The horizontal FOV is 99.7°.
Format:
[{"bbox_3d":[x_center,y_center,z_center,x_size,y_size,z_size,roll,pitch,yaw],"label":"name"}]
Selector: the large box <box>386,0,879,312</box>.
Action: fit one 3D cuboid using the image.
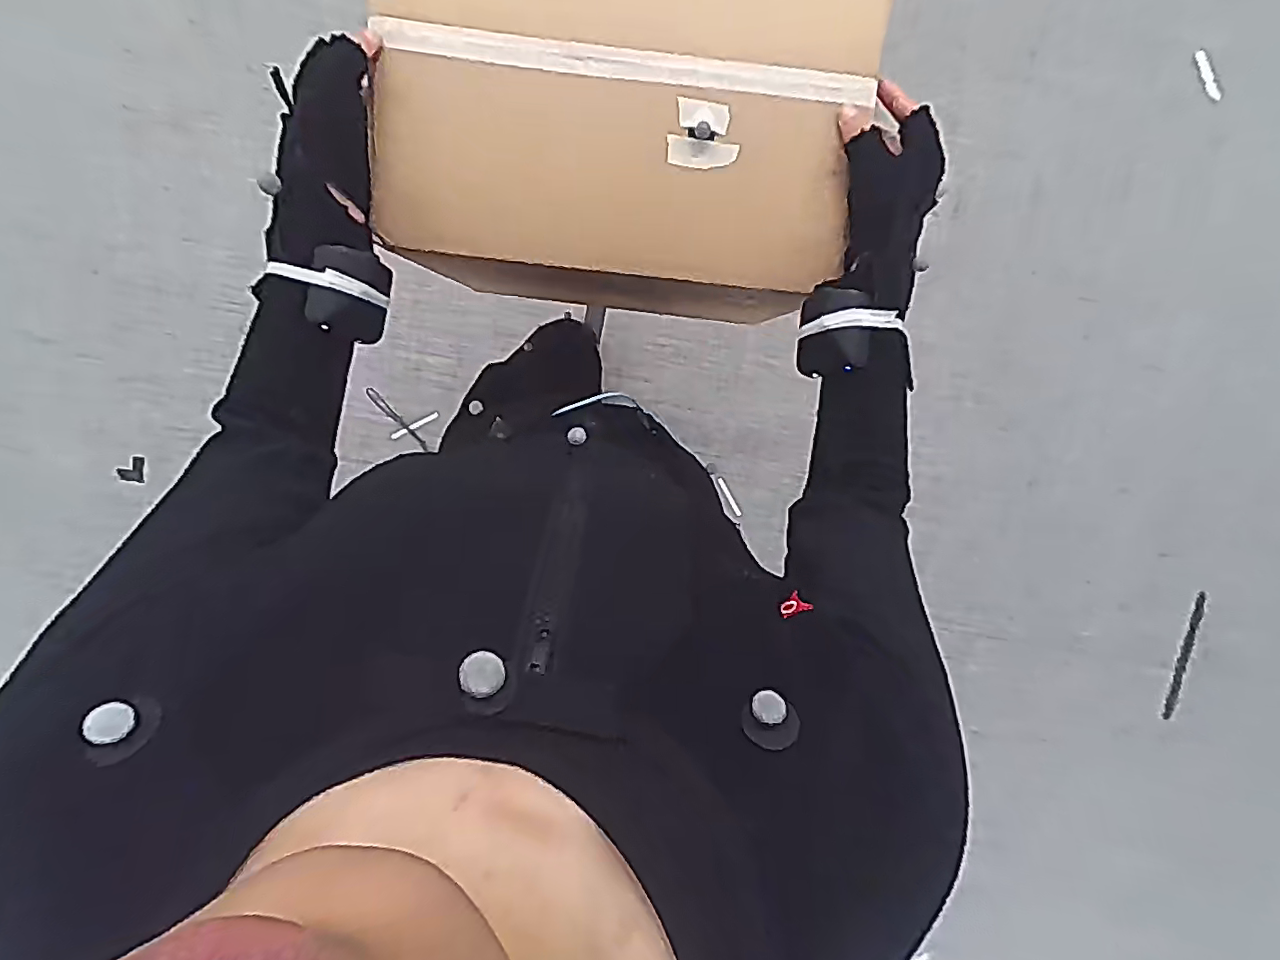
[{"bbox_3d":[-0.013,-0.373,0.592,0.408,0.320,0.320,6,103,-2],"label":"large box"}]
